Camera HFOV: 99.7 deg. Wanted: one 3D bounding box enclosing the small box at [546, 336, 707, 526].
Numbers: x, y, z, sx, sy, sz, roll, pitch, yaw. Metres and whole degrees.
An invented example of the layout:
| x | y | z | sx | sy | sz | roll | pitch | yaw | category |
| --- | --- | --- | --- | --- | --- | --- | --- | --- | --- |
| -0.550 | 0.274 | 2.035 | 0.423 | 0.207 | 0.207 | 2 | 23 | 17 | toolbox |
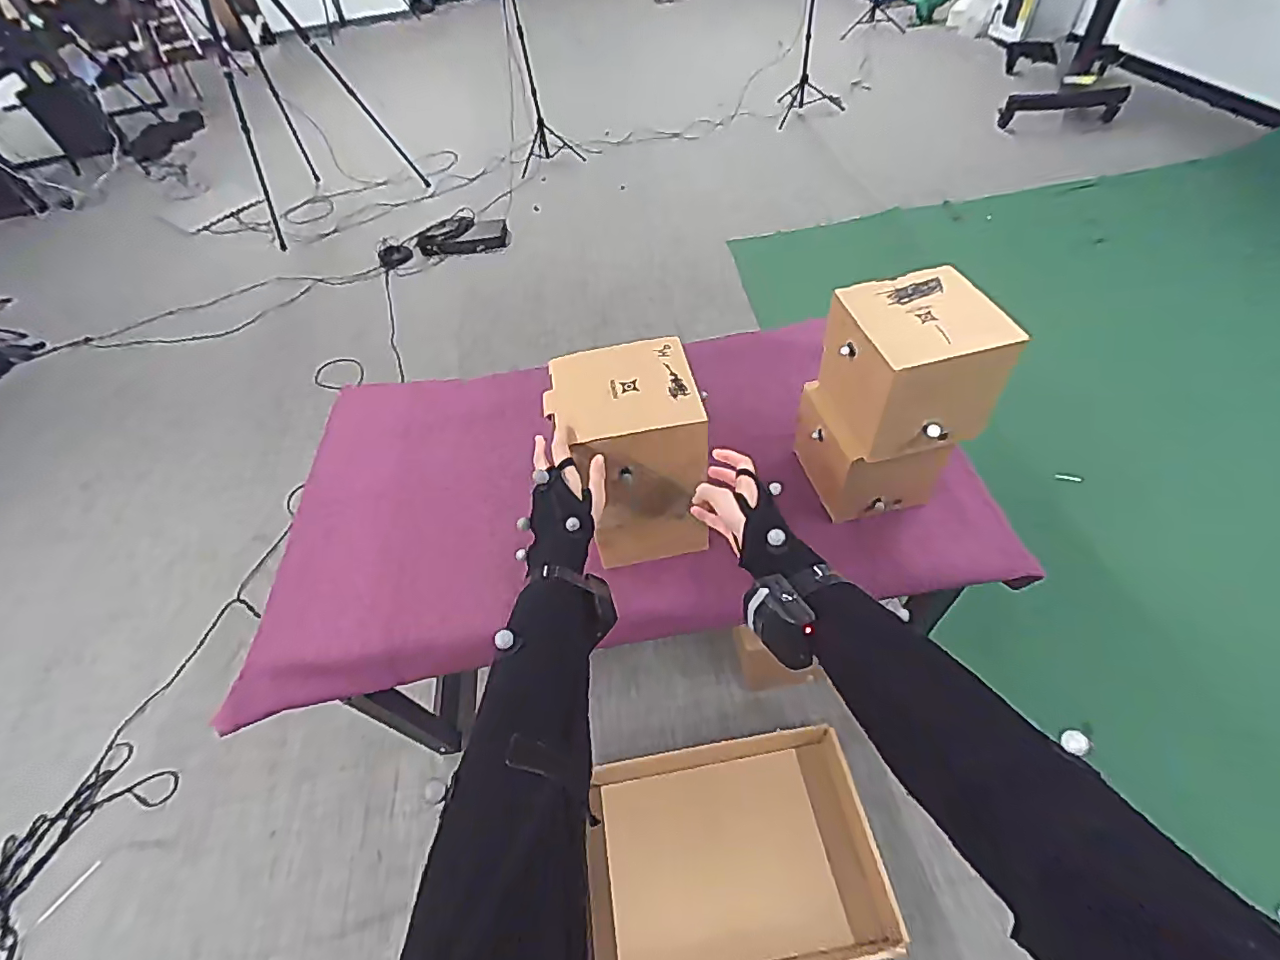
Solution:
| x | y | z | sx | sy | sz | roll | pitch | yaw | category |
| --- | --- | --- | --- | --- | --- | --- | --- | --- | --- |
| -0.015 | -0.059 | 0.709 | 0.179 | 0.176 | 0.168 | -11 | 51 | 0 | small box |

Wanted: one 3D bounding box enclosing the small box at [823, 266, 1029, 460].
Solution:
| x | y | z | sx | sy | sz | roll | pitch | yaw | category |
| --- | --- | --- | --- | --- | --- | --- | --- | --- | --- |
| 0.363 | -0.155 | 0.731 | 0.168 | 0.176 | 0.179 | -13 | 50 | 0 | small box |

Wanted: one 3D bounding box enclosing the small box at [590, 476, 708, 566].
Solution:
| x | y | z | sx | sy | sz | roll | pitch | yaw | category |
| --- | --- | --- | --- | --- | --- | --- | --- | --- | --- |
| 0.005 | 0.016 | 0.858 | 0.179 | 0.176 | 0.168 | -11 | 50 | 0 | small box |

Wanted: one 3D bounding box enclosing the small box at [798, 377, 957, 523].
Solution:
| x | y | z | sx | sy | sz | roll | pitch | yaw | category |
| --- | --- | --- | --- | --- | --- | --- | --- | --- | --- |
| 0.364 | -0.059 | 0.866 | 0.168 | 0.176 | 0.179 | -13 | 50 | -1 | small box |
